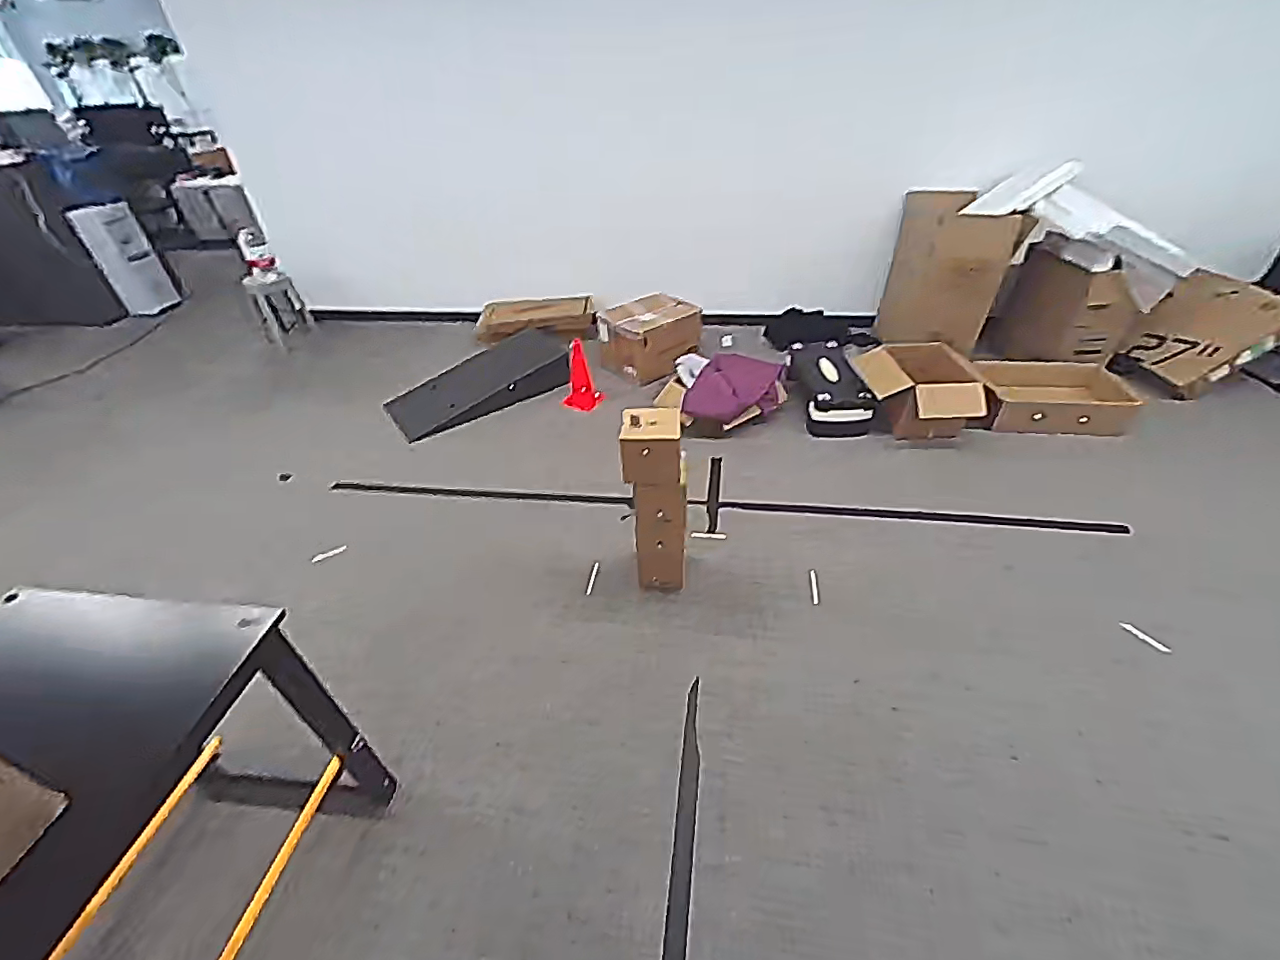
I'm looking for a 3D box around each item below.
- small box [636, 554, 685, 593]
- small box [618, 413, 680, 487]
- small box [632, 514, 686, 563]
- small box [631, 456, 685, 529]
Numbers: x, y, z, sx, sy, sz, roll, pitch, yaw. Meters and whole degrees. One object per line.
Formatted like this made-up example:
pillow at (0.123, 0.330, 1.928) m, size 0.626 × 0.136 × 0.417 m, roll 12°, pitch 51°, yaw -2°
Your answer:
small box at (0.078, 0.288, 1.969) m, size 0.168 × 0.176 × 0.179 m, roll 0°, pitch 39°, yaw 7°
small box at (0.032, -0.090, 1.653) m, size 0.179 × 0.176 × 0.168 m, roll -1°, pitch 38°, yaw 4°
small box at (0.072, 0.169, 1.855) m, size 0.168 × 0.176 × 0.179 m, roll 1°, pitch 39°, yaw 7°
small box at (0.061, 0.040, 1.752) m, size 0.168 × 0.176 × 0.179 m, roll -2°, pitch 38°, yaw 4°
